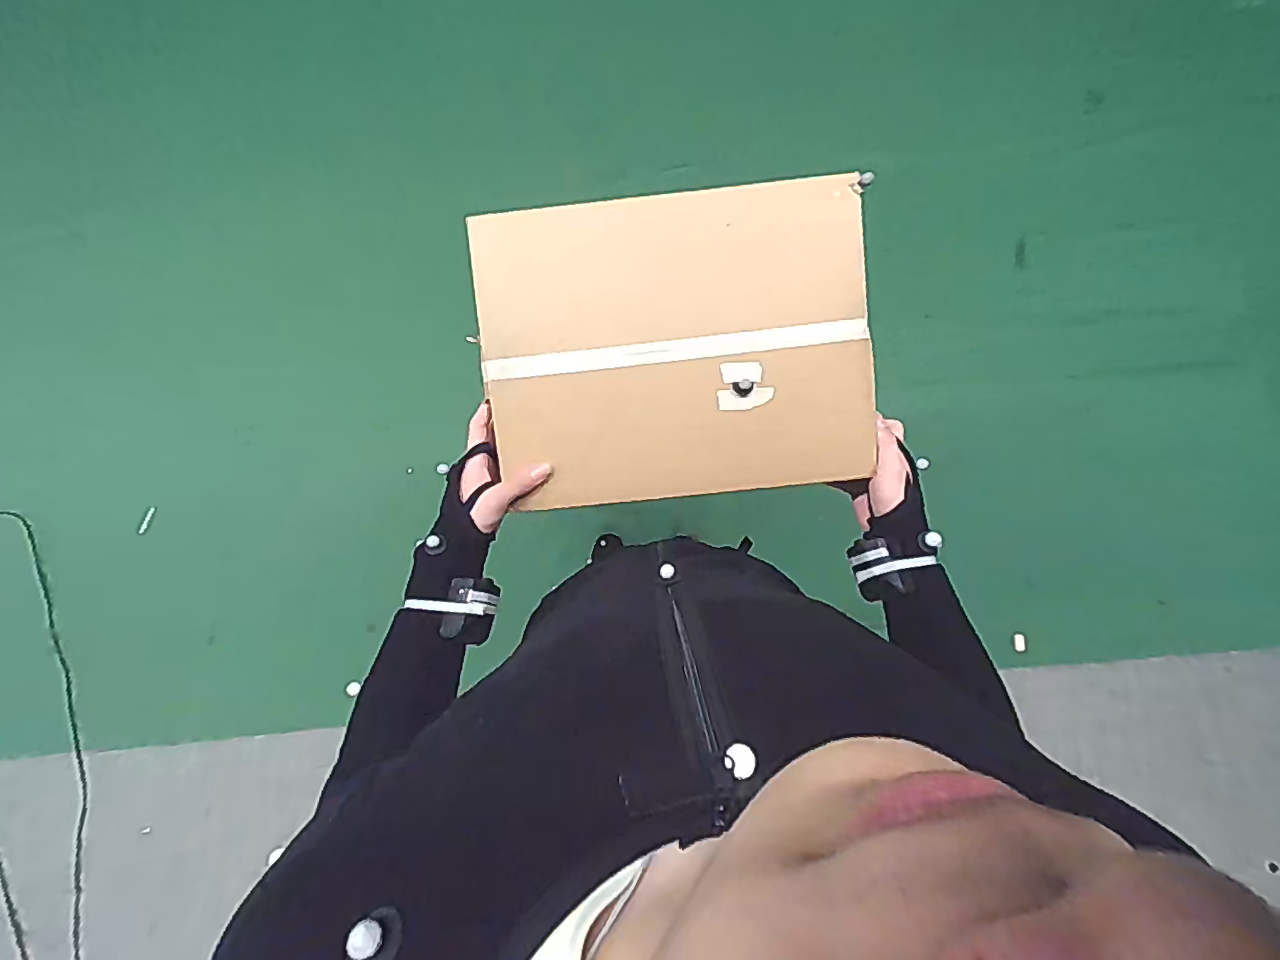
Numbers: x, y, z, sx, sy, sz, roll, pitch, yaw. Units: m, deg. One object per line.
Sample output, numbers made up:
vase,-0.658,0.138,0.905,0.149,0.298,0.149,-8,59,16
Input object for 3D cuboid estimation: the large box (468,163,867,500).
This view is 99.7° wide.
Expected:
large box,0.032,-0.168,0.722,0.408,0.320,0.320,-6,97,1
